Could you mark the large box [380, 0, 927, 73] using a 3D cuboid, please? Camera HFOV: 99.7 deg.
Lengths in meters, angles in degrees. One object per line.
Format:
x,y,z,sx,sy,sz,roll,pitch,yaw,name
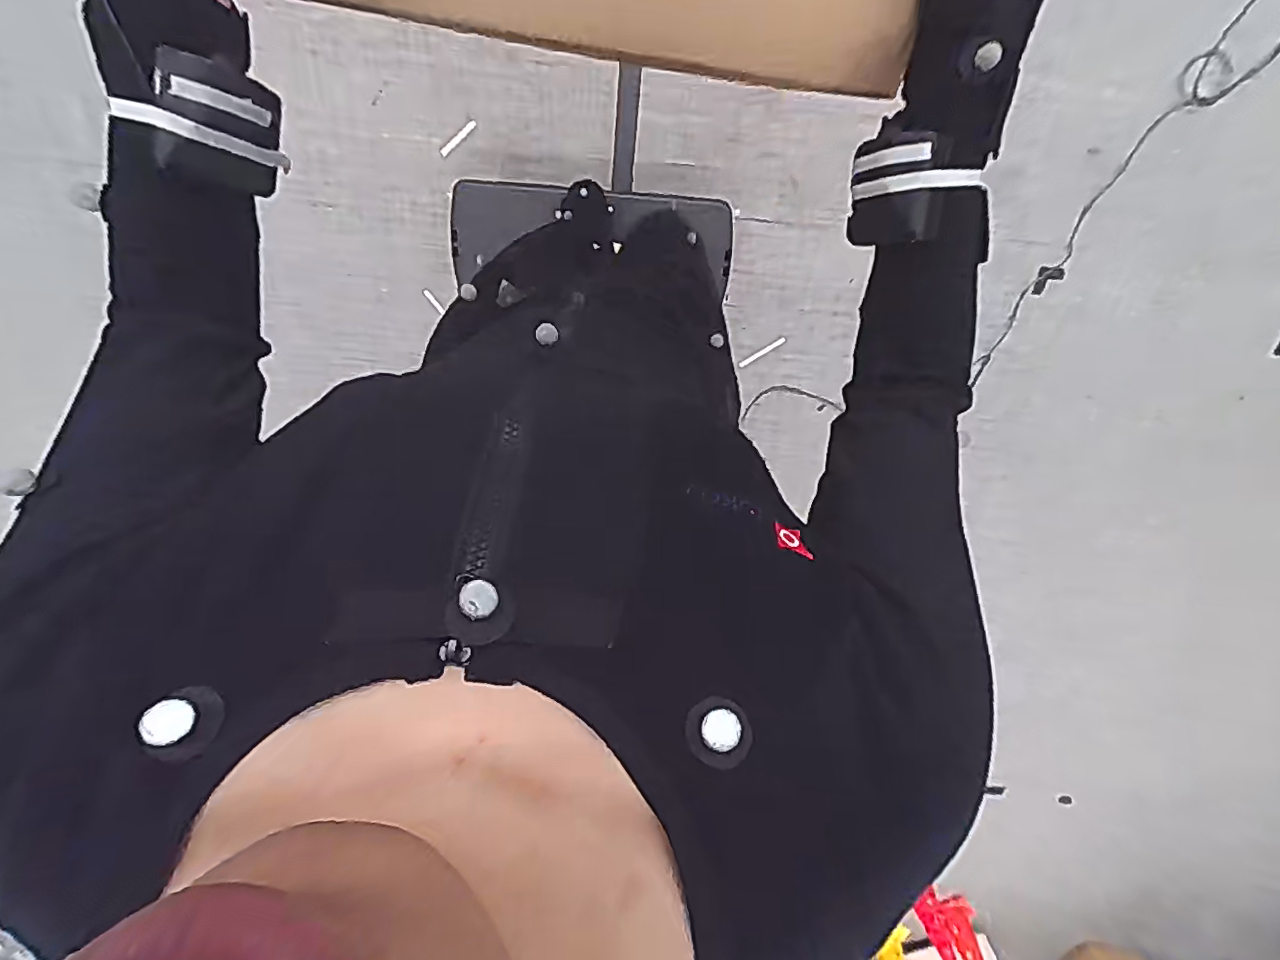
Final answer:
-0.005,-0.499,0.371,0.408,0.320,0.320,6,127,-4,large box
